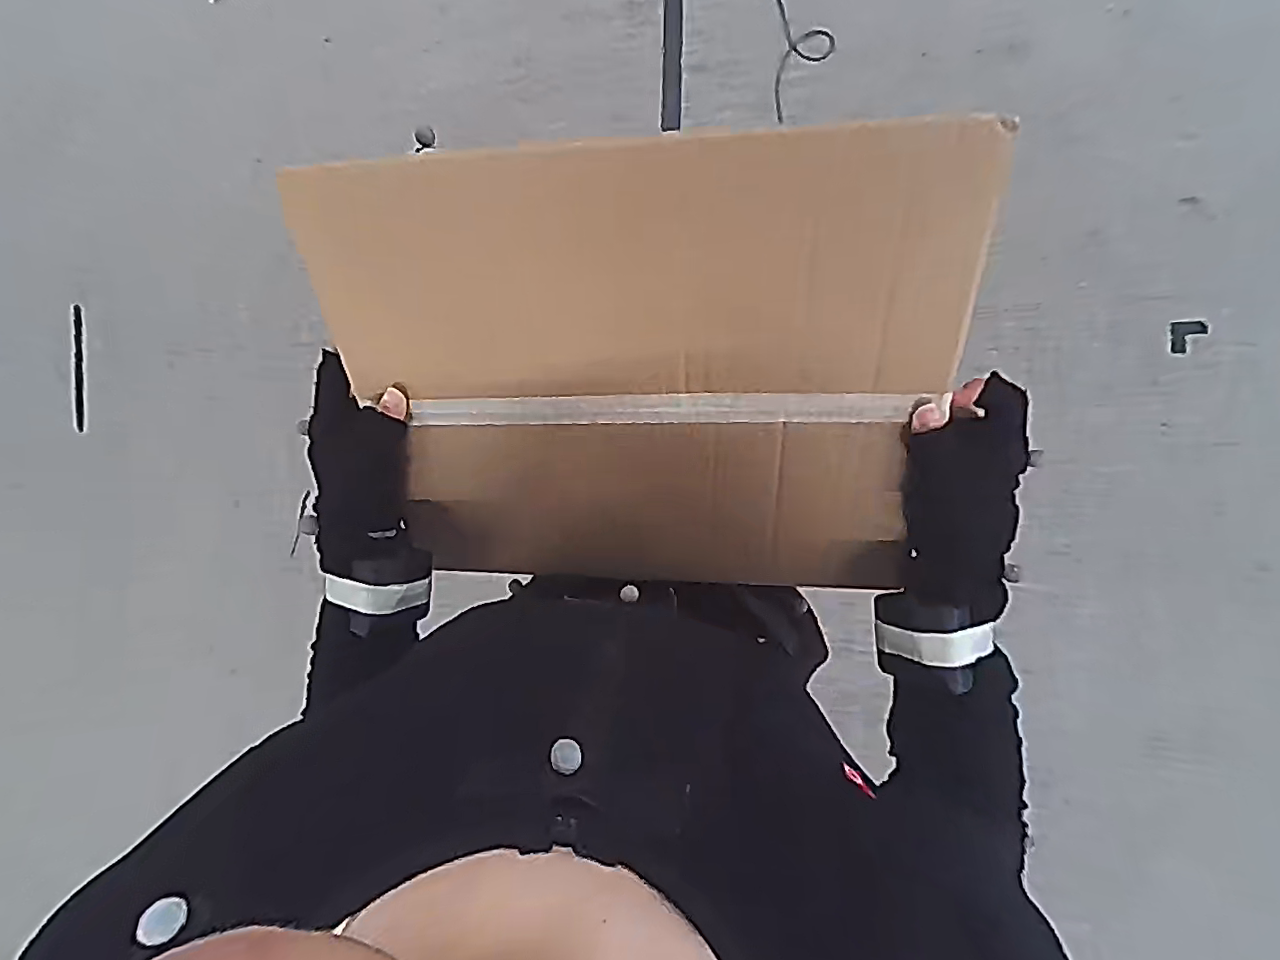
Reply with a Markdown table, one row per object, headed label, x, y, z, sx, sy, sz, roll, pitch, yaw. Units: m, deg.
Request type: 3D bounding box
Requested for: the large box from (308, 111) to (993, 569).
| label | x | y | z | sx | sy | sz | roll | pitch | yaw |
| --- | --- | --- | --- | --- | --- | --- | --- | --- | --- |
| large box | 0.015 | -0.138 | 0.508 | 0.408 | 0.320 | 0.320 | 1 | 123 | 9 |
